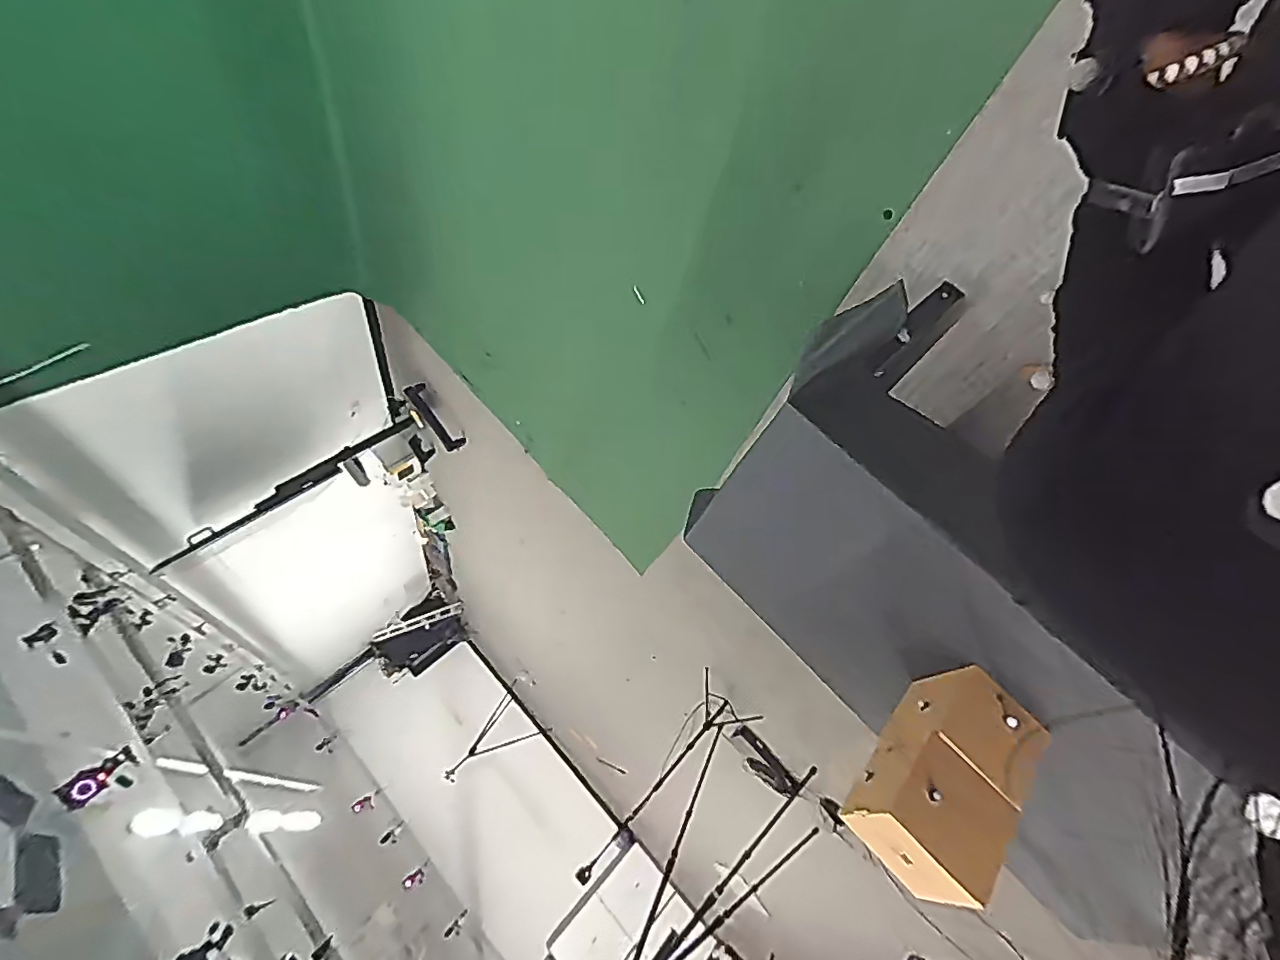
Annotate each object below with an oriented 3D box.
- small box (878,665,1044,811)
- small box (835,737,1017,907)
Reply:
[{"bbox_3d":[0.585,0.469,0.988,0.168,0.176,0.179,46,147,12],"label":"small box"},{"bbox_3d":[0.475,0.557,0.906,0.179,0.176,0.168,44,149,14],"label":"small box"}]
